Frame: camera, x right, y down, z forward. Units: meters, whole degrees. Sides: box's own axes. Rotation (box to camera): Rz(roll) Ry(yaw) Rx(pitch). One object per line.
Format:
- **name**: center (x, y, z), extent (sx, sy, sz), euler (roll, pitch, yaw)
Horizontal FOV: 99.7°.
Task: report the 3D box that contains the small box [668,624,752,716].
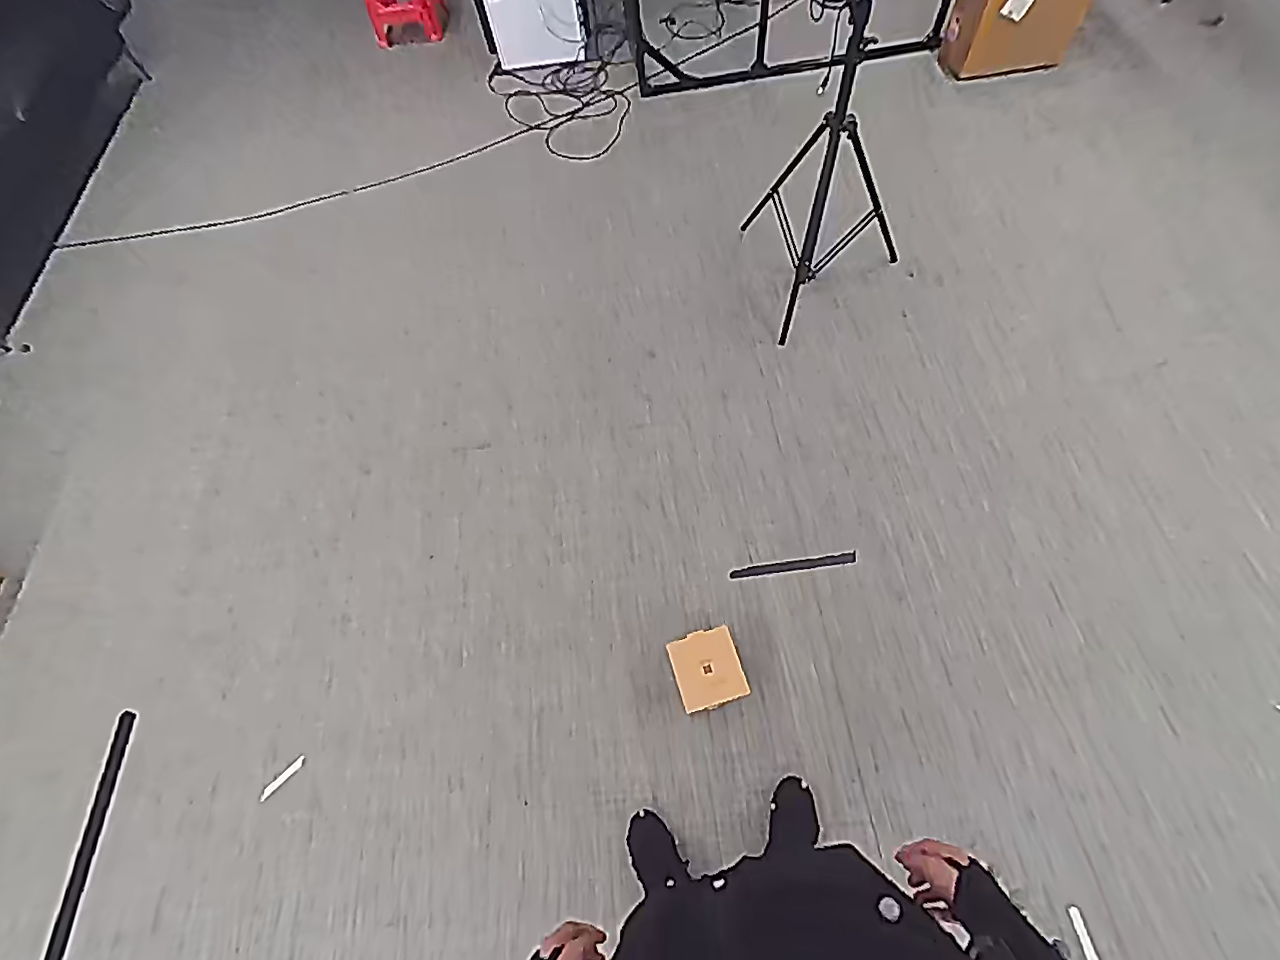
- **small box**: center (0.177, 0.496, 1.401), extent (0.168, 0.176, 0.179), euler (-18, 63, -1)
